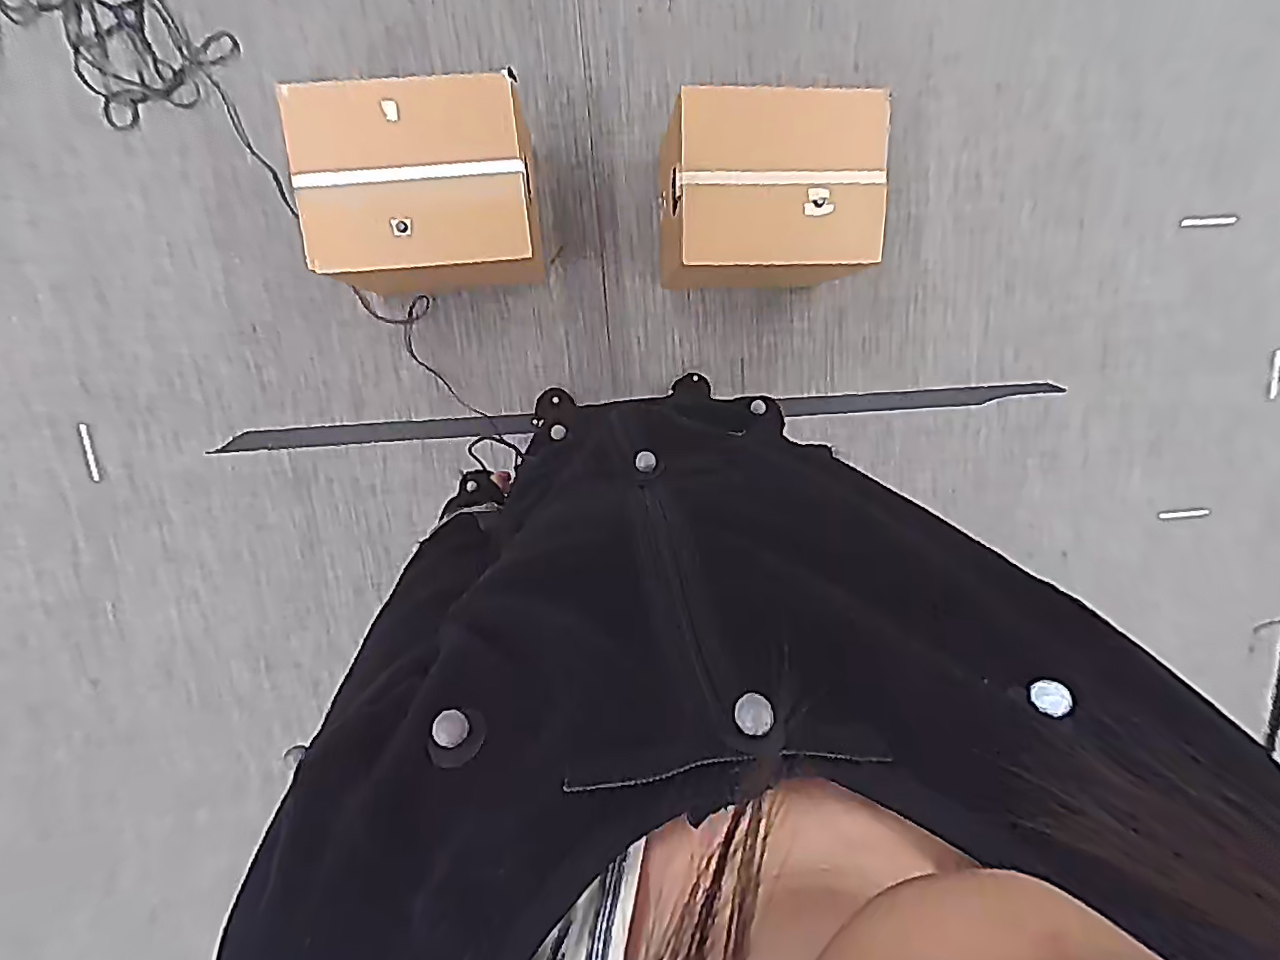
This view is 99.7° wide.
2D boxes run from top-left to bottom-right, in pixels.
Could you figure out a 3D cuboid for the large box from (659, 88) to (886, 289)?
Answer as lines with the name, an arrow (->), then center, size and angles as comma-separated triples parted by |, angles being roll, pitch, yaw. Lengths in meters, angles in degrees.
large box -> 0.263, -0.609, 1.188 | 0.408, 0.320, 0.320 | -2, 102, -5
